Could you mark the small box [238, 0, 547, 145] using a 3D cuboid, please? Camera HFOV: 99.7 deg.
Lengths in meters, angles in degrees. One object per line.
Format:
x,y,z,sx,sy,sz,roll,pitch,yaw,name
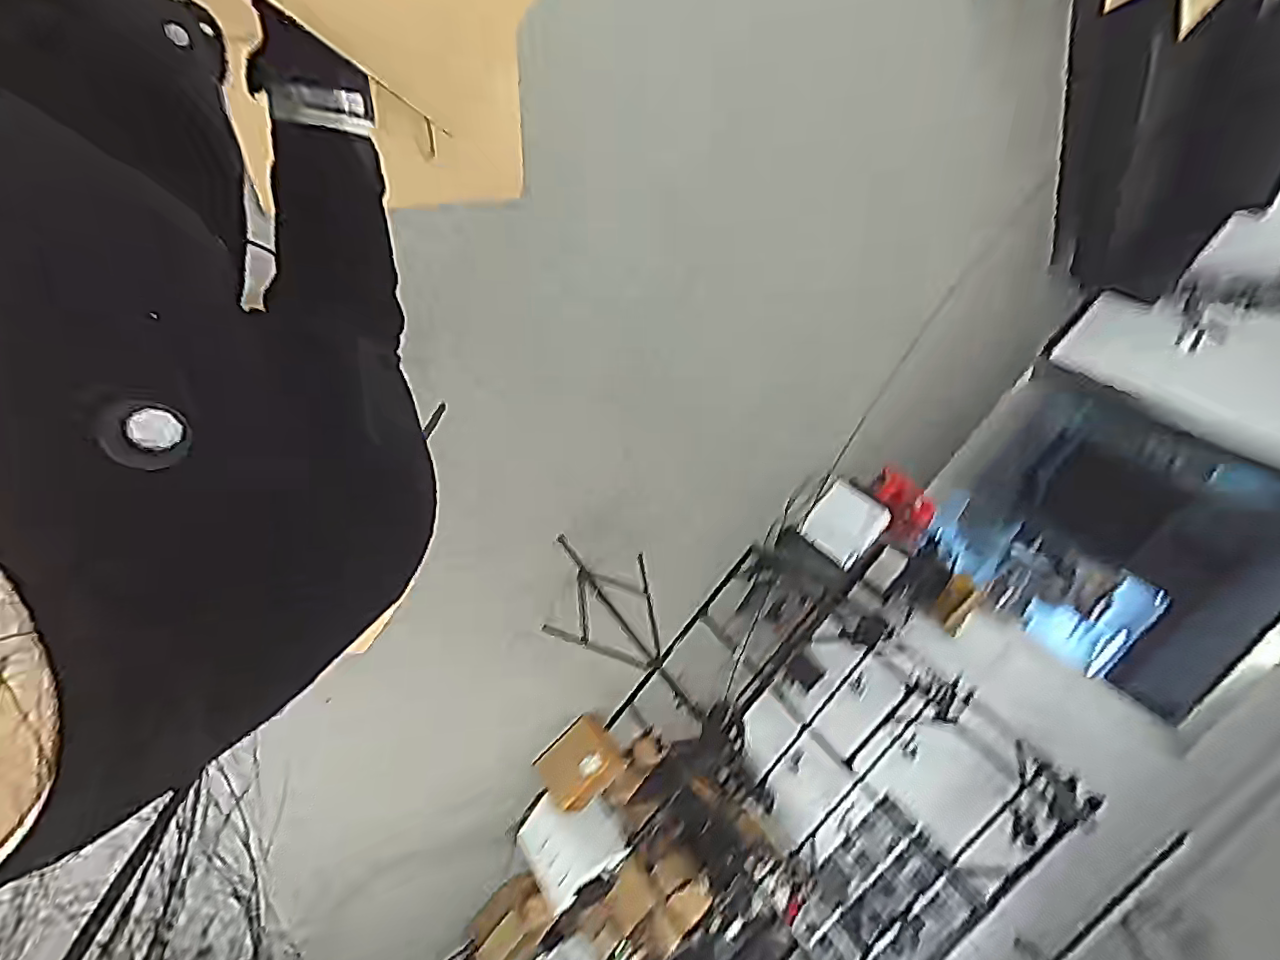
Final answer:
-0.131,-0.291,0.211,0.179,0.176,0.168,-49,165,18,small box
